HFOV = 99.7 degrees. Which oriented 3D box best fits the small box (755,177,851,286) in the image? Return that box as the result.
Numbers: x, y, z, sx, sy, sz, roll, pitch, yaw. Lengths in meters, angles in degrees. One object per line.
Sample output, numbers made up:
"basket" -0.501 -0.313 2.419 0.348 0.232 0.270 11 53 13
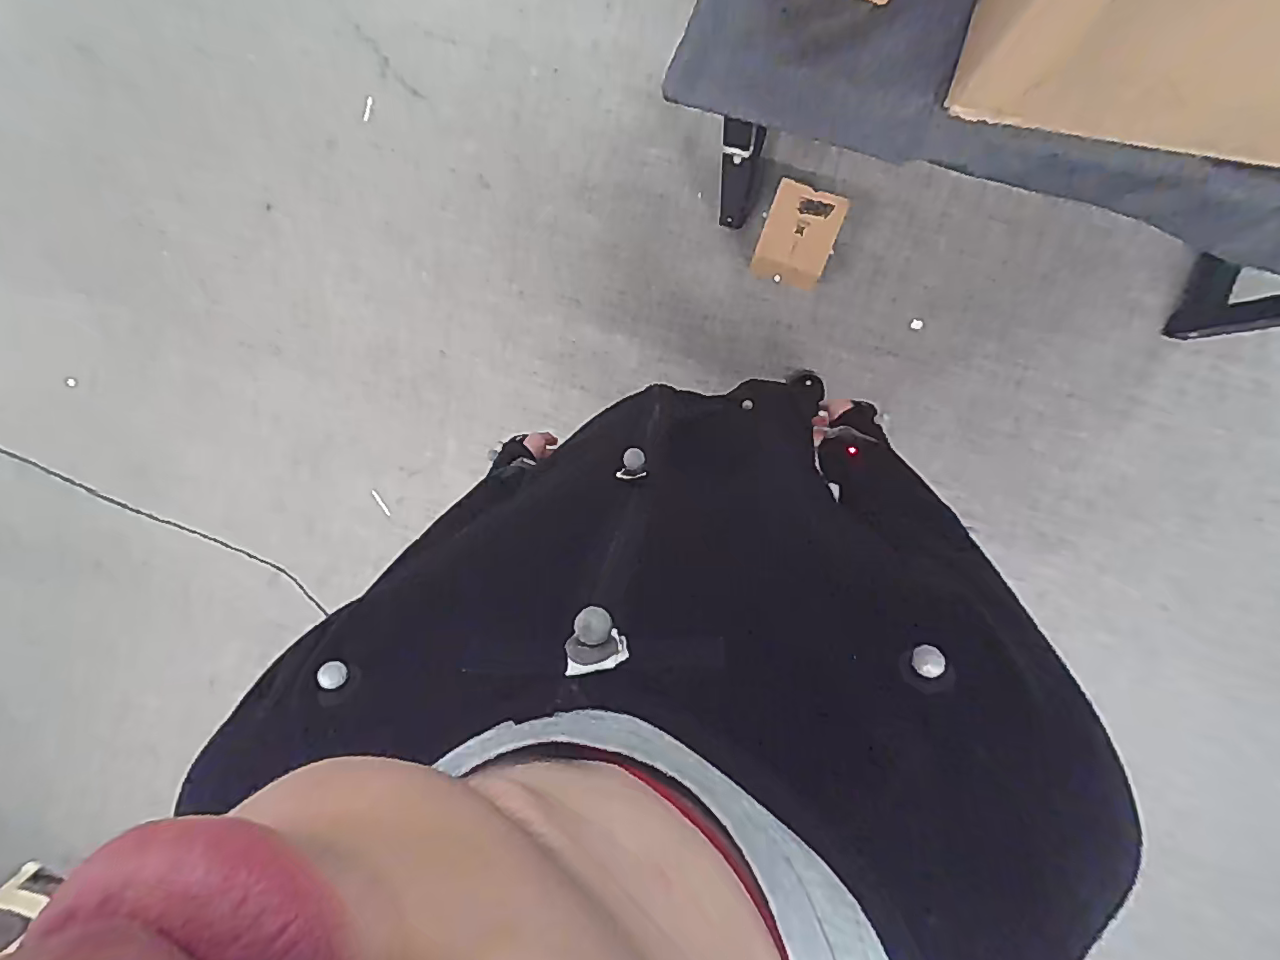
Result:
"small box" 0.390 -0.603 1.332 0.168 0.176 0.179 21 101 5
